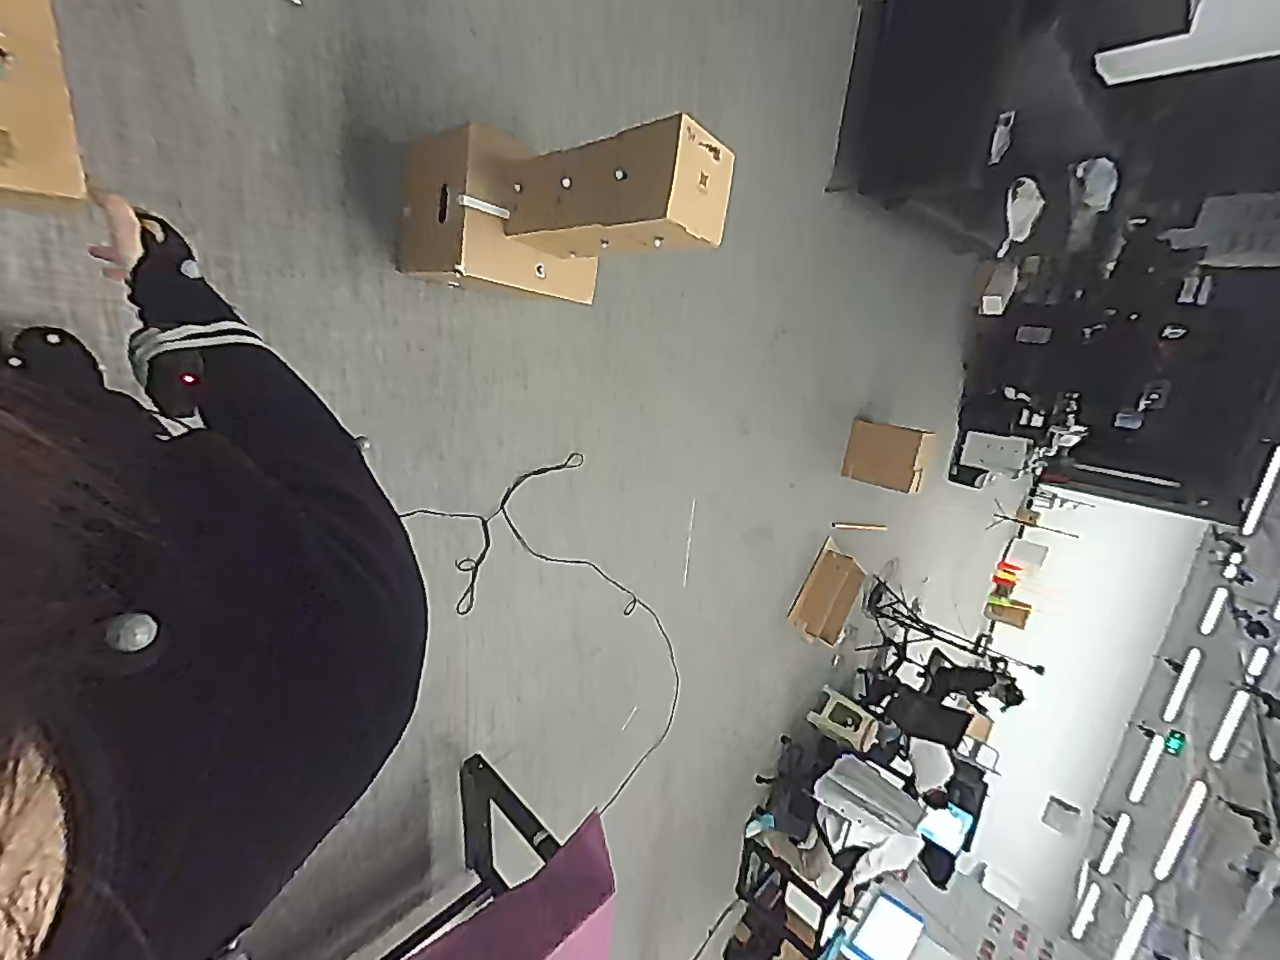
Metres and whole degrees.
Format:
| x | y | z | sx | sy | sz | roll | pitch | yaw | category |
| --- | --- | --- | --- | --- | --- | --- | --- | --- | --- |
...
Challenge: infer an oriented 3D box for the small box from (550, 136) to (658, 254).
| x | y | z | sx | sy | sz | roll | pitch | yaw | category |
| --- | --- | --- | --- | --- | --- | --- | --- | --- | --- |
| -0.063 | -0.592 | 1.152 | 0.179 | 0.176 | 0.168 | 3 | 100 | -47 | small box |

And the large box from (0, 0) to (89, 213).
| x | y | z | sx | sy | sz | roll | pitch | yaw | category |
| --- | --- | --- | --- | --- | --- | --- | --- | --- | --- |
| -1.016 | -0.617 | 0.738 | 0.320 | 0.320 | 0.408 | -13 | 113 | -44 | large box |

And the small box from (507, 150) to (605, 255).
| x | y | z | sx | sy | sz | roll | pitch | yaw | category |
| --- | --- | --- | --- | --- | --- | --- | --- | --- | --- |
| -0.181 | -0.633 | 1.258 | 0.179 | 0.176 | 0.168 | 1 | 102 | -47 | small box |

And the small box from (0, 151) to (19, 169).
| x | y | z | sx | sy | sz | roll | pitch | yaw | category |
| --- | --- | --- | --- | --- | --- | --- | --- | --- | --- |
| -0.842 | -0.474 | 0.610 | 0.168 | 0.176 | 0.179 | -10 | 111 | -45 | small box |

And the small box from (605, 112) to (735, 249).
| x | y | z | sx | sy | sz | roll | pitch | yaw | category |
| --- | --- | --- | --- | --- | --- | --- | --- | --- | --- |
| 0.053 | -0.558 | 1.040 | 0.168 | 0.176 | 0.179 | 1 | 102 | -48 | small box |
